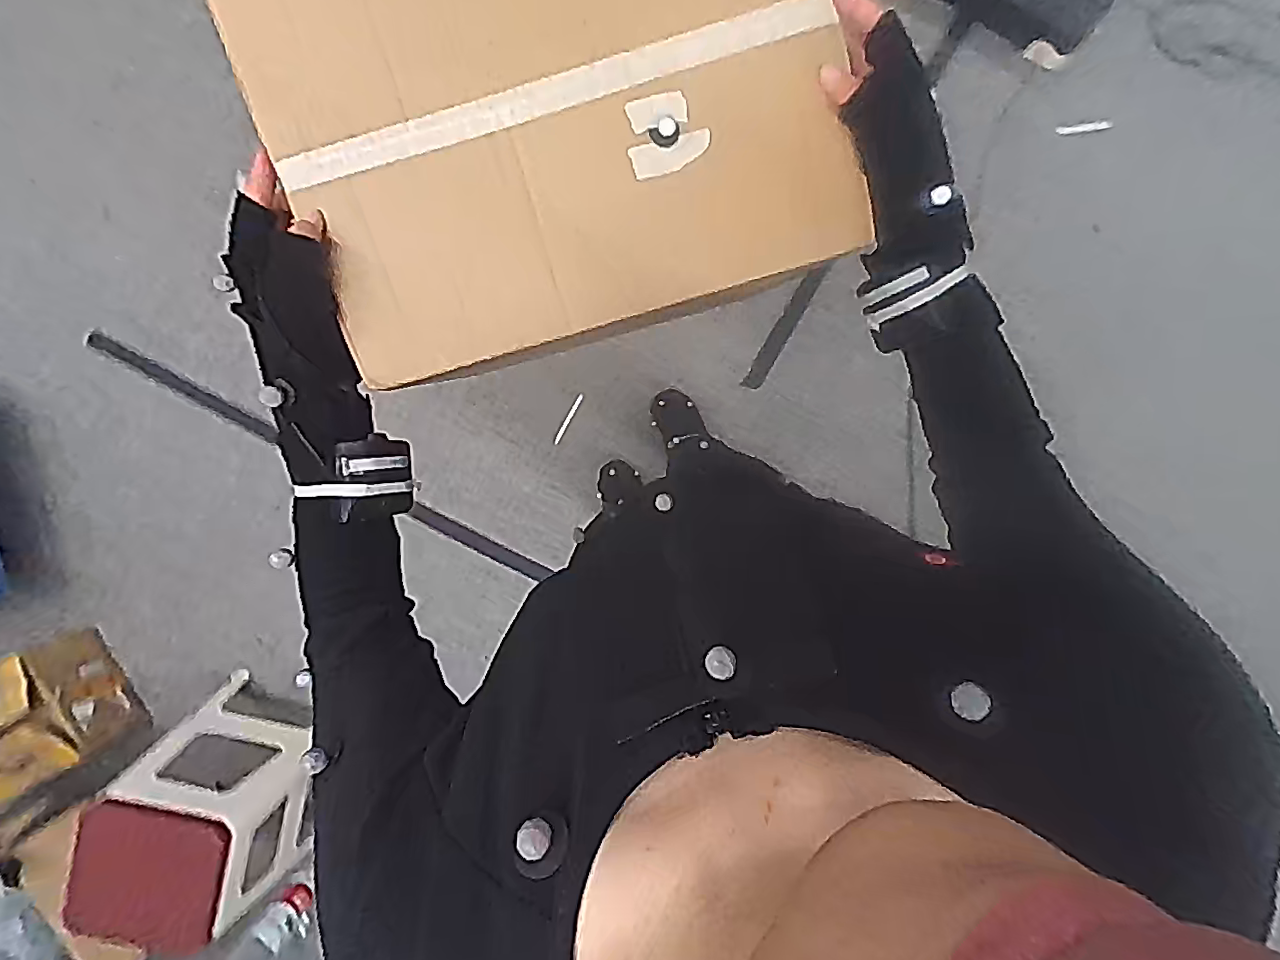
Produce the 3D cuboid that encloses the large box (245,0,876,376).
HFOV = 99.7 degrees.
[{"bbox_3d":[-0.056,-0.307,0.531,0.408,0.320,0.320,-16,103,0],"label":"large box"}]
